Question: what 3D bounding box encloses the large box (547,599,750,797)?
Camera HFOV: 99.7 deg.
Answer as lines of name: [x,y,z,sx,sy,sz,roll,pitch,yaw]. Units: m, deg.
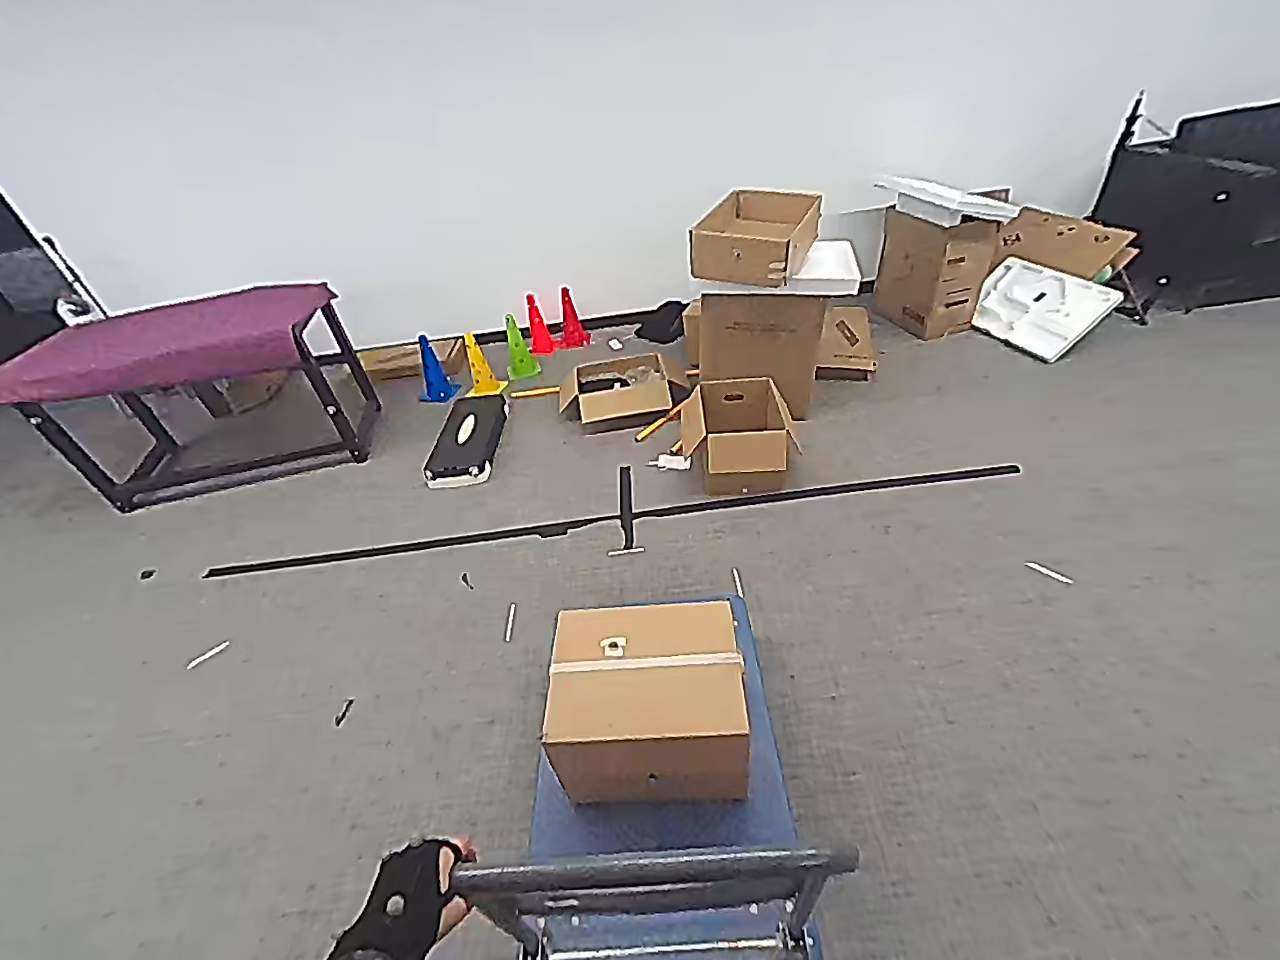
large box: [0.030,0.509,1.260,0.408,0.320,0.320,-5,39,4]
